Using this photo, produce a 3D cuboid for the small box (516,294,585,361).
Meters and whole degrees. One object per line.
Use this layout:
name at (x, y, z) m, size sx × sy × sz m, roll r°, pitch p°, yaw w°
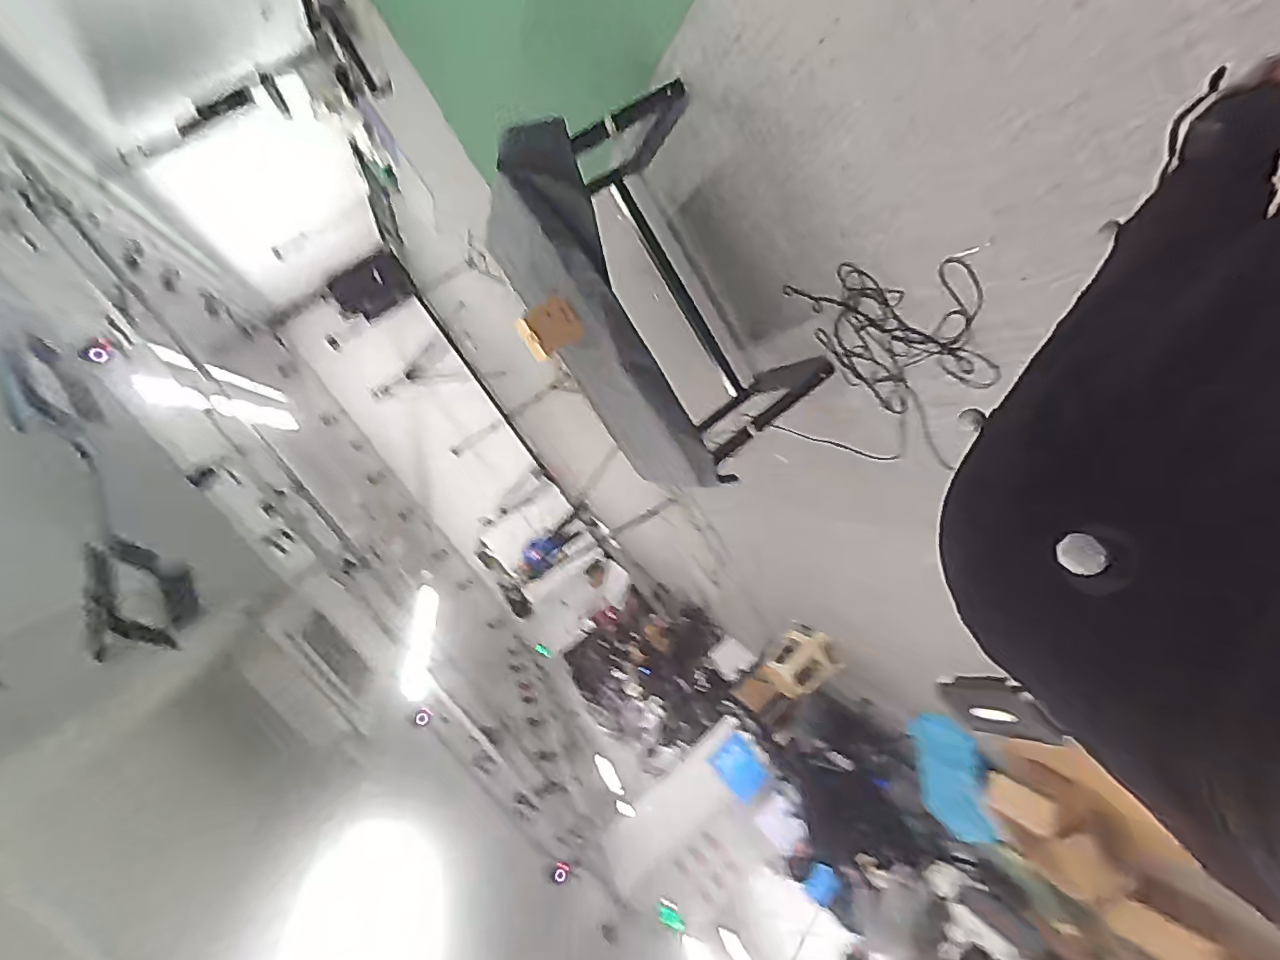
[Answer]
small box at (-0.319, -0.547, 1.941) m, size 0.168 × 0.176 × 0.179 m, roll 59°, pitch 166°, yaw -16°
